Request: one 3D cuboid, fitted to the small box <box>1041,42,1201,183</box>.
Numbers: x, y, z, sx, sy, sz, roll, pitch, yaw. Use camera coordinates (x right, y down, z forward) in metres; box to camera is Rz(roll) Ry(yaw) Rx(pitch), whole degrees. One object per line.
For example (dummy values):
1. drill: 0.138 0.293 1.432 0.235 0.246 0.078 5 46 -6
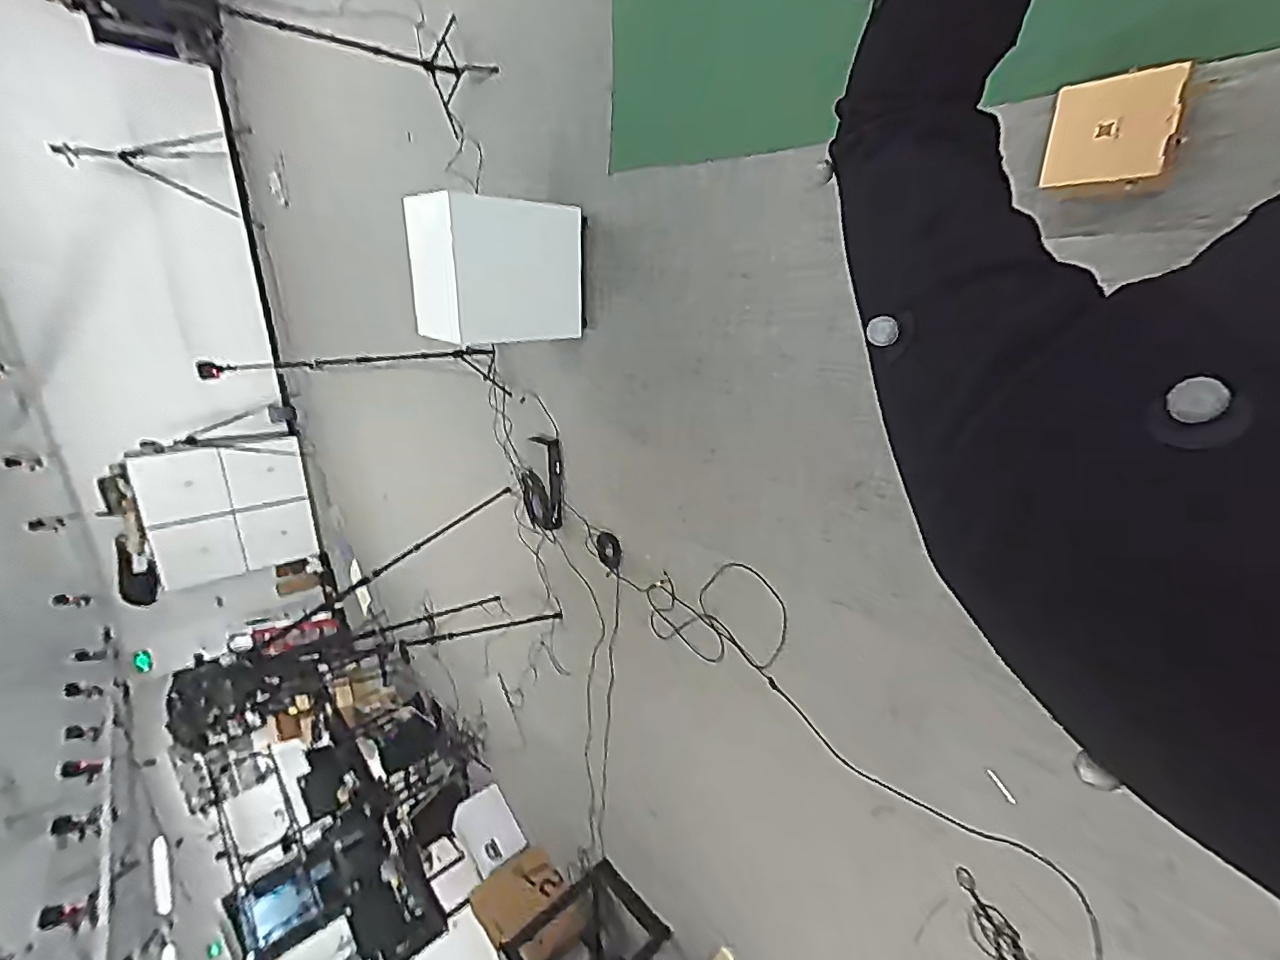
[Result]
1. small box: 0.877 -0.654 0.989 0.179 0.176 0.168 19 118 44
